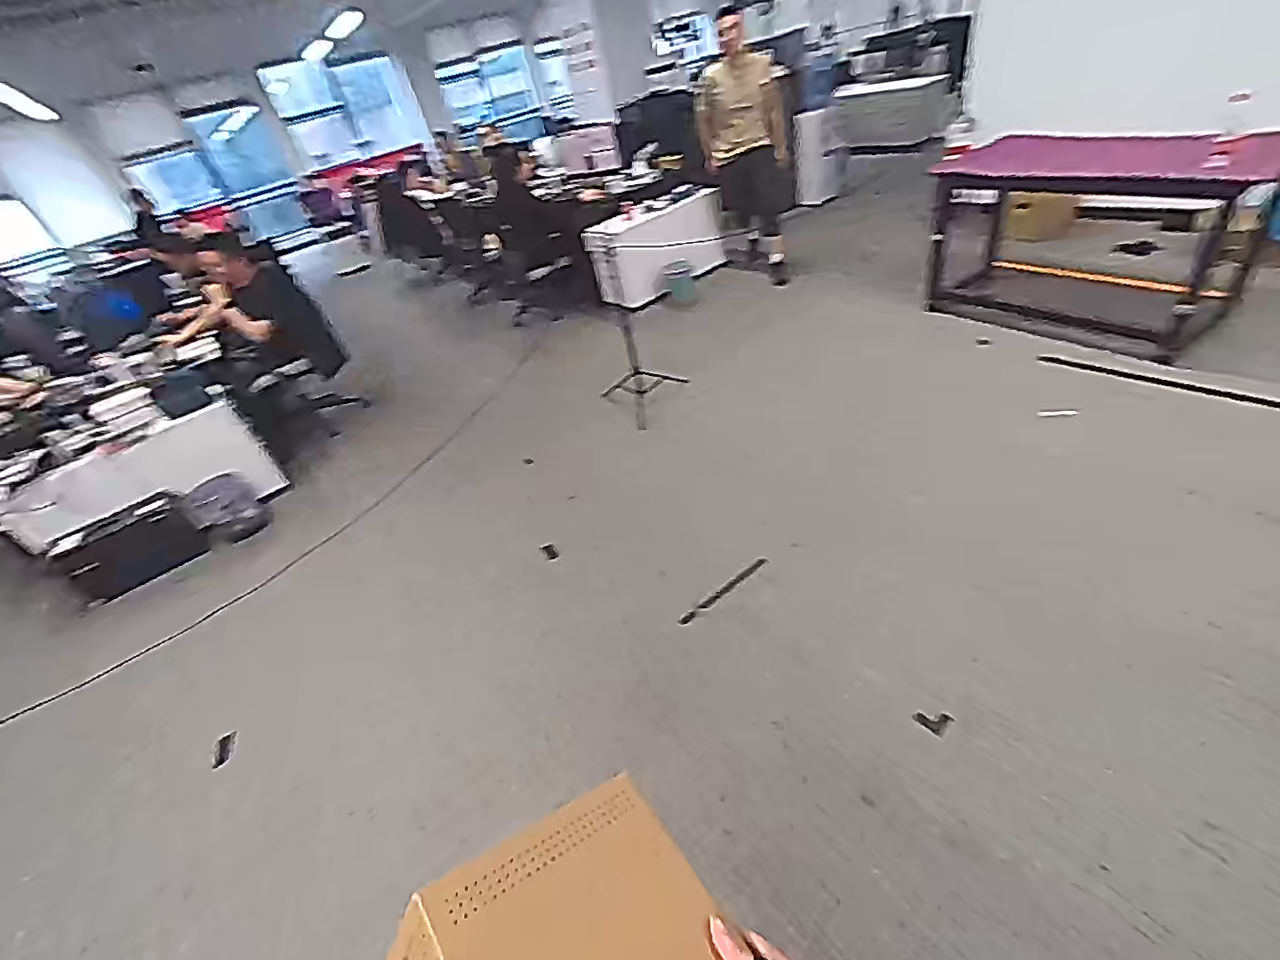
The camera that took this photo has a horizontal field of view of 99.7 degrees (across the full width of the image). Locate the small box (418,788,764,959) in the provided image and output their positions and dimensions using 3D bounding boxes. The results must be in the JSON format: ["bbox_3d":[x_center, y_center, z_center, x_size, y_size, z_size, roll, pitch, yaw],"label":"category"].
[{"bbox_3d":[-0.042,0.355,0.361,0.179,0.168,0.176,-1,34,-45],"label":"small box"}]
